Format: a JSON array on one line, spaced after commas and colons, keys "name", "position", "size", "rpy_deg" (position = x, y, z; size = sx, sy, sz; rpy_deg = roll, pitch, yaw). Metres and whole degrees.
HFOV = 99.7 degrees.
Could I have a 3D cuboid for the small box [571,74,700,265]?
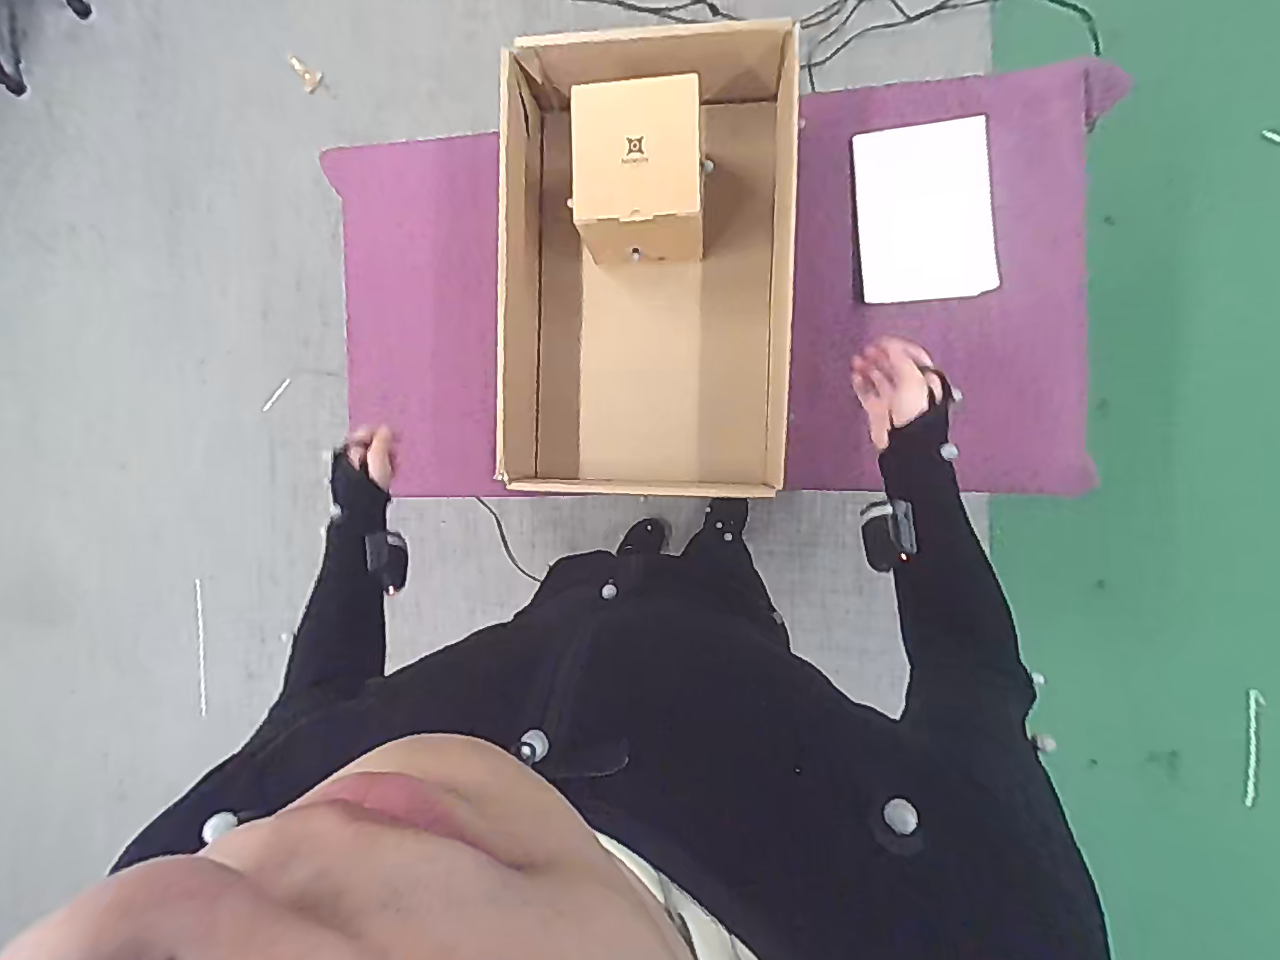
[{"name": "small box", "position": [0.000, -0.426, 0.768], "size": [0.168, 0.176, 0.179], "rpy_deg": [-1, 93, 6]}]
